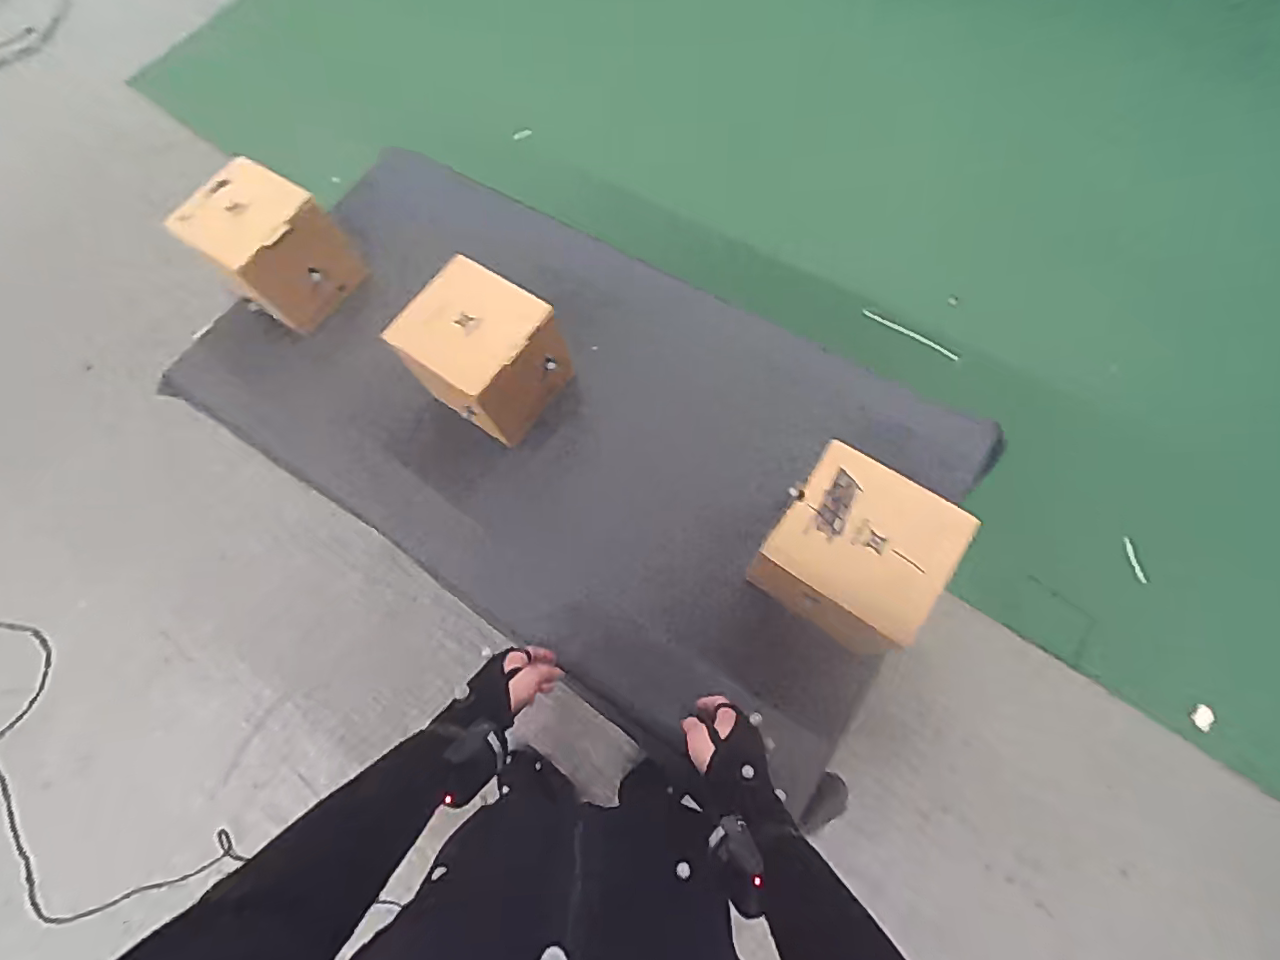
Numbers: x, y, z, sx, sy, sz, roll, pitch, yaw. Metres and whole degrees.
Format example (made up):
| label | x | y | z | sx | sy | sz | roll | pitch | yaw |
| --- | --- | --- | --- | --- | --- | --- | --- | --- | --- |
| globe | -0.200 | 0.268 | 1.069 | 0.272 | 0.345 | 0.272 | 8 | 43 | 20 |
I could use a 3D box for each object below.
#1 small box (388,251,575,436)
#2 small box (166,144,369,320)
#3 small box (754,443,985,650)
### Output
| label | x | y | z | sx | sy | sz | roll | pitch | yaw |
| --- | --- | --- | --- | --- | --- | --- | --- | --- | --- |
| small box | -0.215 | -0.187 | 0.791 | 0.179 | 0.176 | 0.168 | 33 | 74 | 15 |
| small box | -0.592 | -0.393 | 0.886 | 0.179 | 0.176 | 0.168 | 33 | 75 | 13 |
| small box | 0.258 | 0.091 | 0.655 | 0.179 | 0.176 | 0.168 | 35 | 76 | 14 |
